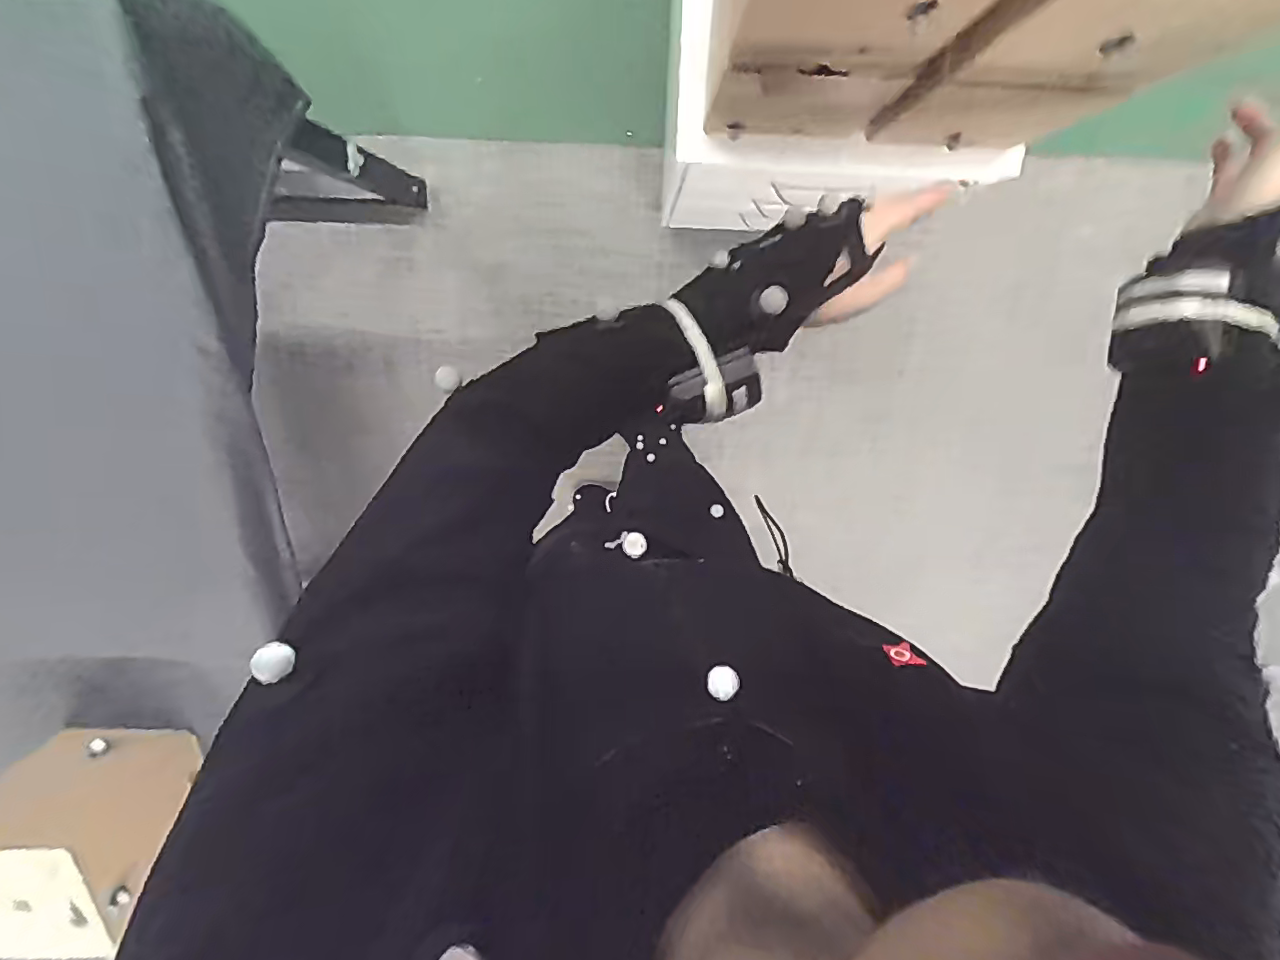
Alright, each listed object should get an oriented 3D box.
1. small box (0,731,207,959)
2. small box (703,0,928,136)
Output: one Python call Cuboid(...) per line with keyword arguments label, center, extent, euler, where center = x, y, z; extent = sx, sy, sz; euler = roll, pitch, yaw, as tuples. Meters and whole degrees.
Cuboid(label="small box", center=(-0.675, 0.423, 0.642), extent=(0.179, 0.176, 0.168), euler=(1, 108, 0))
Cuboid(label="small box", center=(0.154, -0.444, 0.504), extent=(0.168, 0.176, 0.179), euler=(2, 107, -2))
